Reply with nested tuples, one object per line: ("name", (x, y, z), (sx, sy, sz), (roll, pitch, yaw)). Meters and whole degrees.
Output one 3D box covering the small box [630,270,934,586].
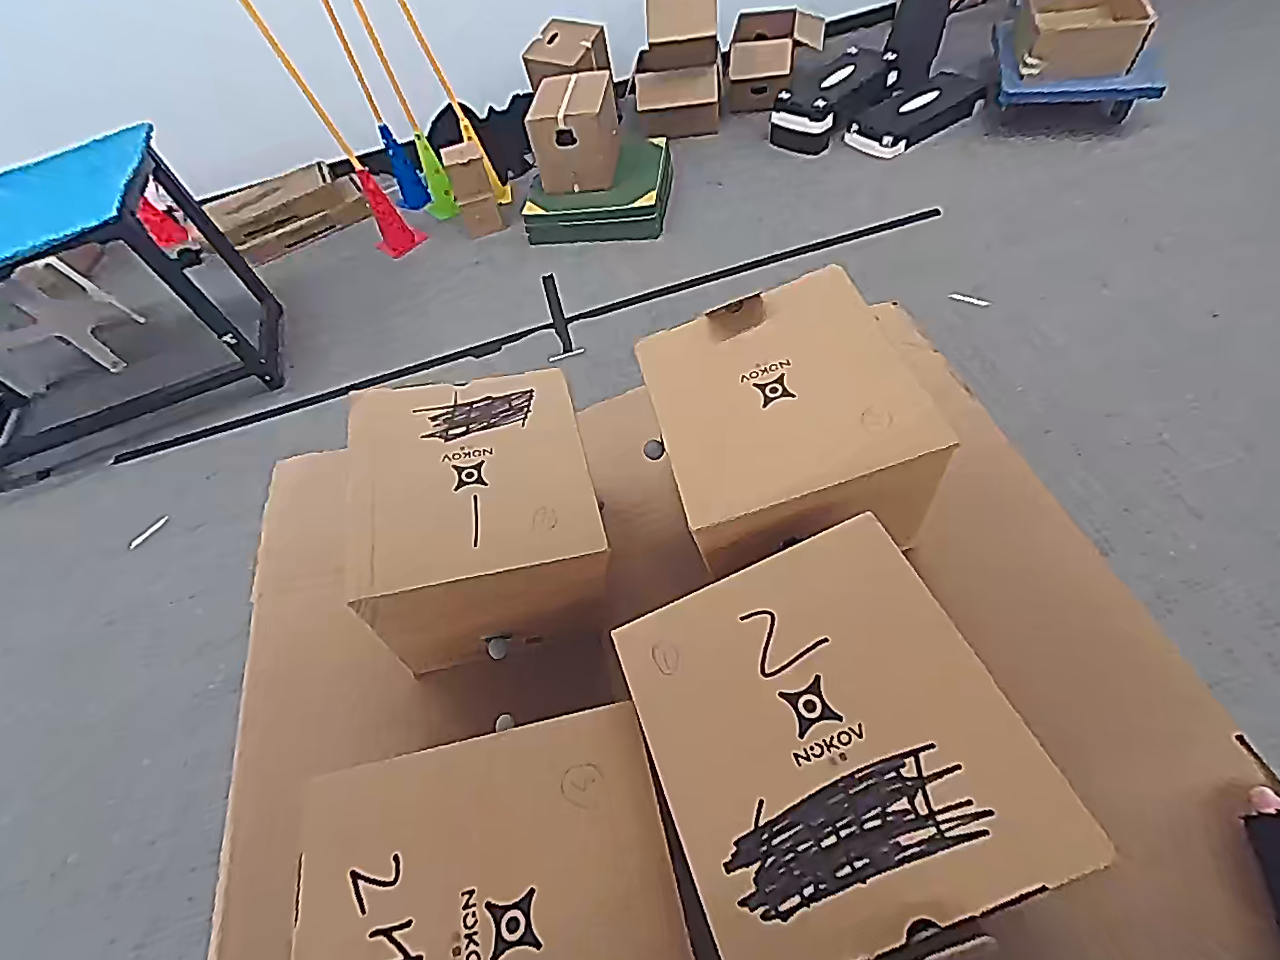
("small box", (0.108, -0.027, 0.445), (0.168, 0.176, 0.179), (-20, 56, 6))
